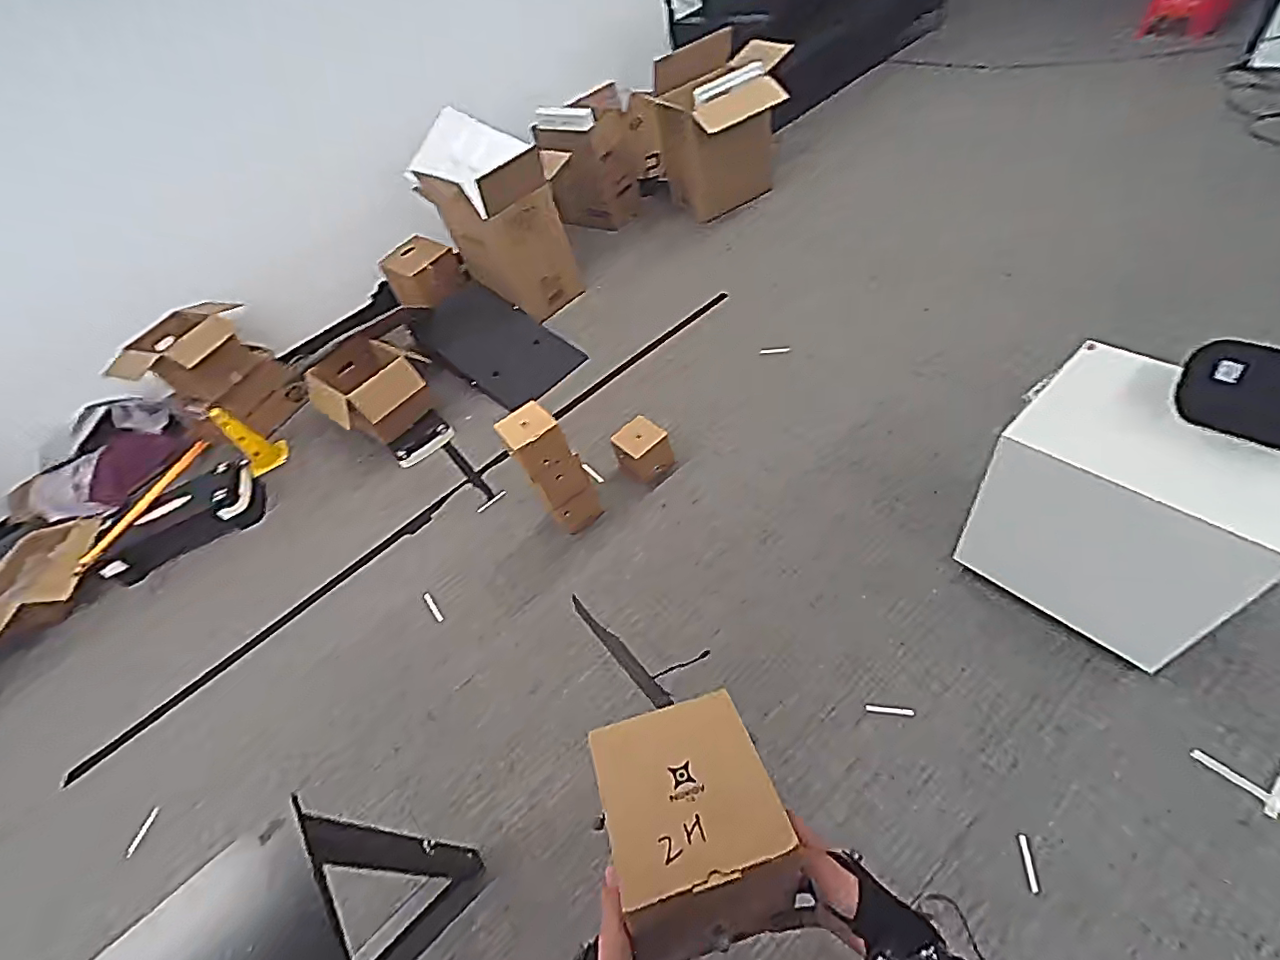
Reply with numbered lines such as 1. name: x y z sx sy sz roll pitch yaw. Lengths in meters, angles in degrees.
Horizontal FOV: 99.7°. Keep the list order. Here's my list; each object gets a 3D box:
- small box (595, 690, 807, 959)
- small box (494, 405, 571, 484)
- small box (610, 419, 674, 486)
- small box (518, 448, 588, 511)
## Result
1. small box: 0.056 0.363 0.570 0.168 0.176 0.179 -13 33 -9
2. small box: -0.363 -0.118 1.843 0.168 0.176 0.179 -37 51 -15
3. small box: 0.011 -0.107 2.160 0.168 0.176 0.179 -41 52 -16
4. small box: -0.314 -0.018 1.962 0.179 0.176 0.168 -38 50 -17
